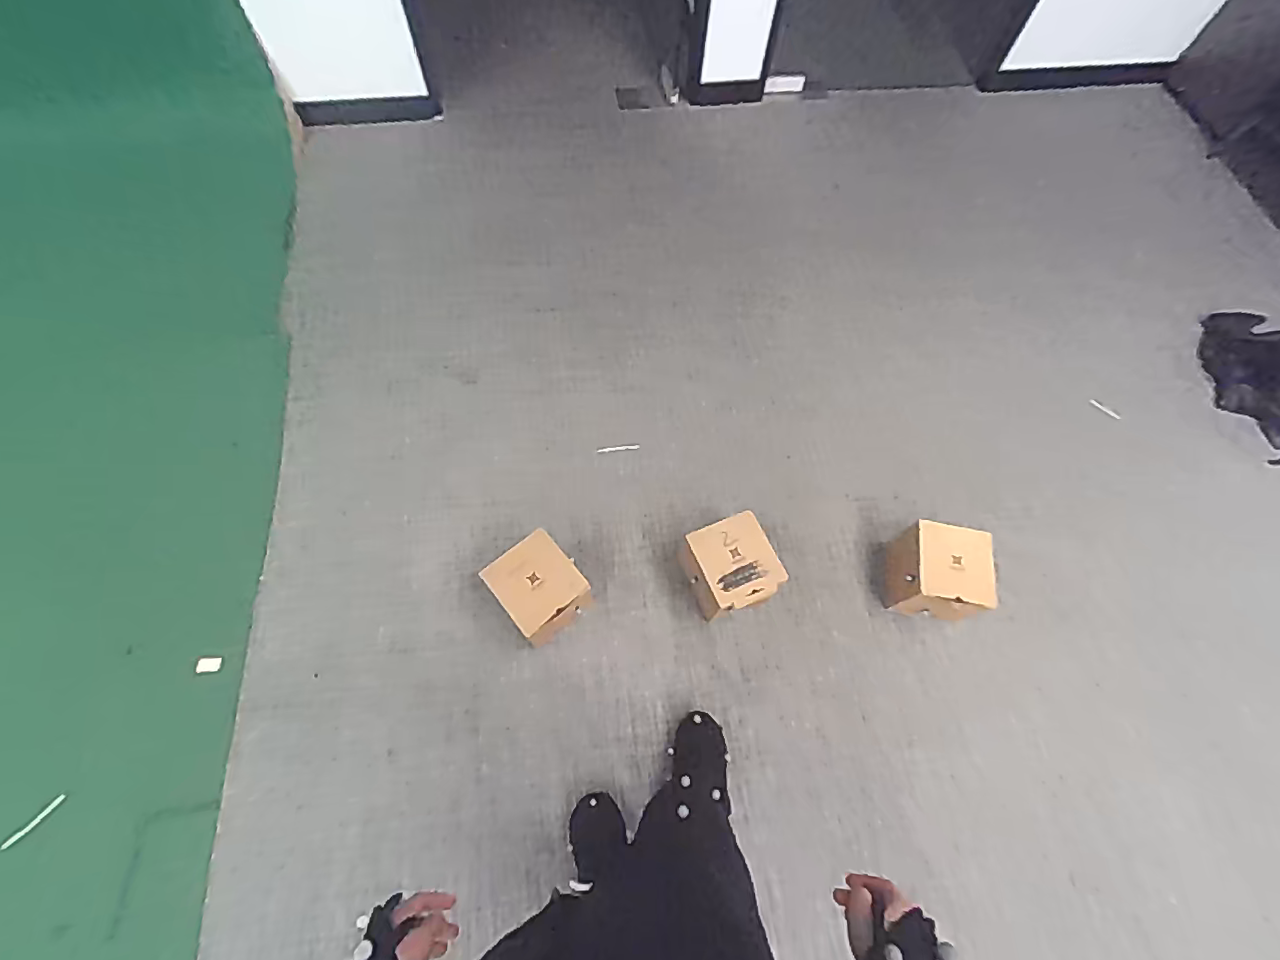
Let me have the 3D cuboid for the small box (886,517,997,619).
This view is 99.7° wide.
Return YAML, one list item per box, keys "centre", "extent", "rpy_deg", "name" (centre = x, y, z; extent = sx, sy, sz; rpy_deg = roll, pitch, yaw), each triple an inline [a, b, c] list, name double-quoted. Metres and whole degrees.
- centre: [0.684, 0.206, 1.247]
  extent: [0.168, 0.176, 0.179]
  rpy_deg: [11, 66, 2]
  name: "small box"

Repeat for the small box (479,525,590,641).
- centre: [-0.222, 0.235, 1.189]
  extent: [0.168, 0.176, 0.179]
  rpy_deg: [-38, 71, -19]
  name: "small box"
